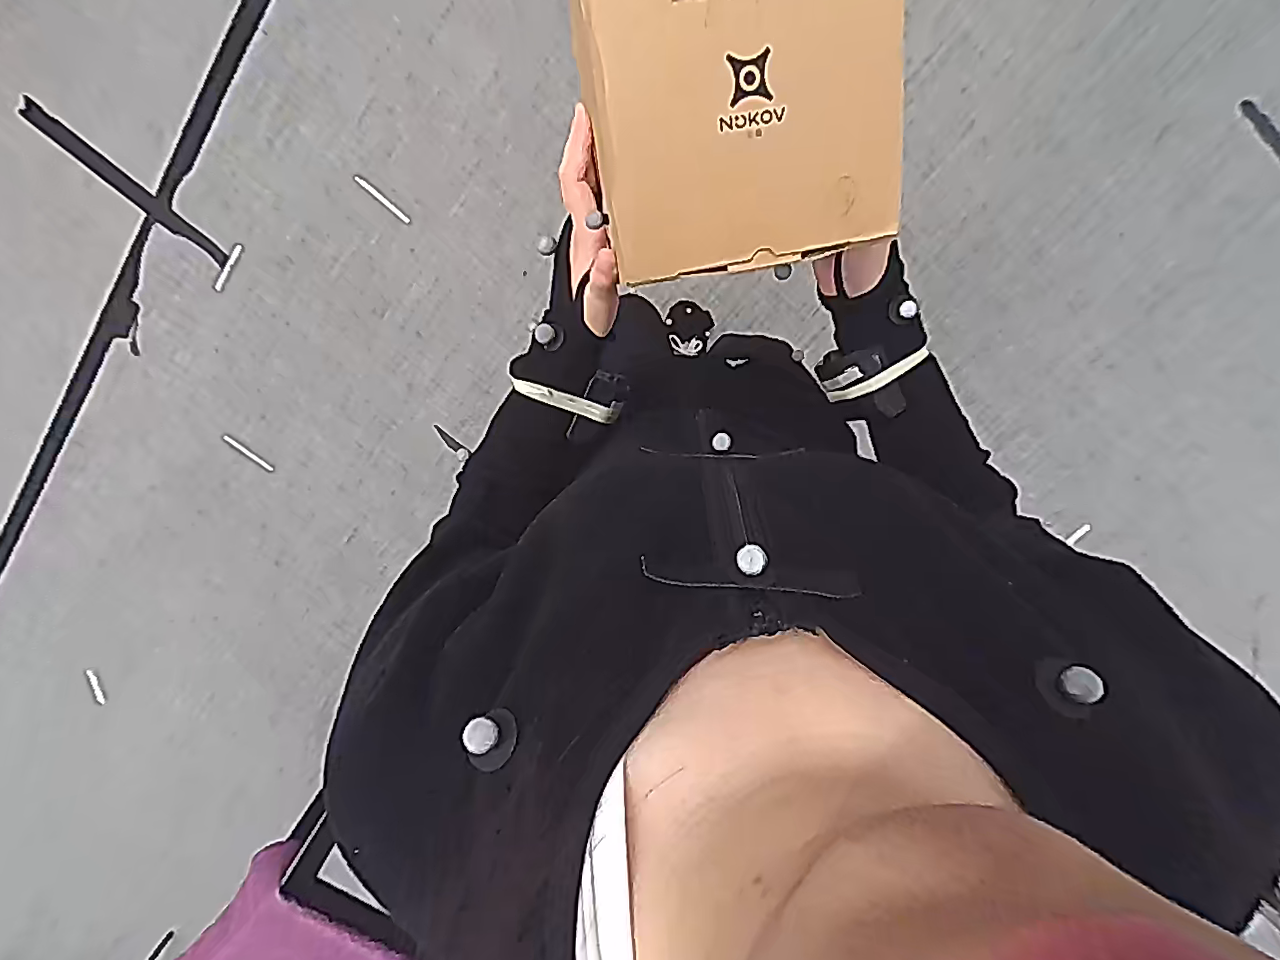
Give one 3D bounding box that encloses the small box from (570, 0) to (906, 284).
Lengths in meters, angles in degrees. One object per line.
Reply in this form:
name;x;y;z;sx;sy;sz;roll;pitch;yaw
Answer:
small box;0.051;-0.235;0.356;0.168;0.176;0.179;-11;111;-2
